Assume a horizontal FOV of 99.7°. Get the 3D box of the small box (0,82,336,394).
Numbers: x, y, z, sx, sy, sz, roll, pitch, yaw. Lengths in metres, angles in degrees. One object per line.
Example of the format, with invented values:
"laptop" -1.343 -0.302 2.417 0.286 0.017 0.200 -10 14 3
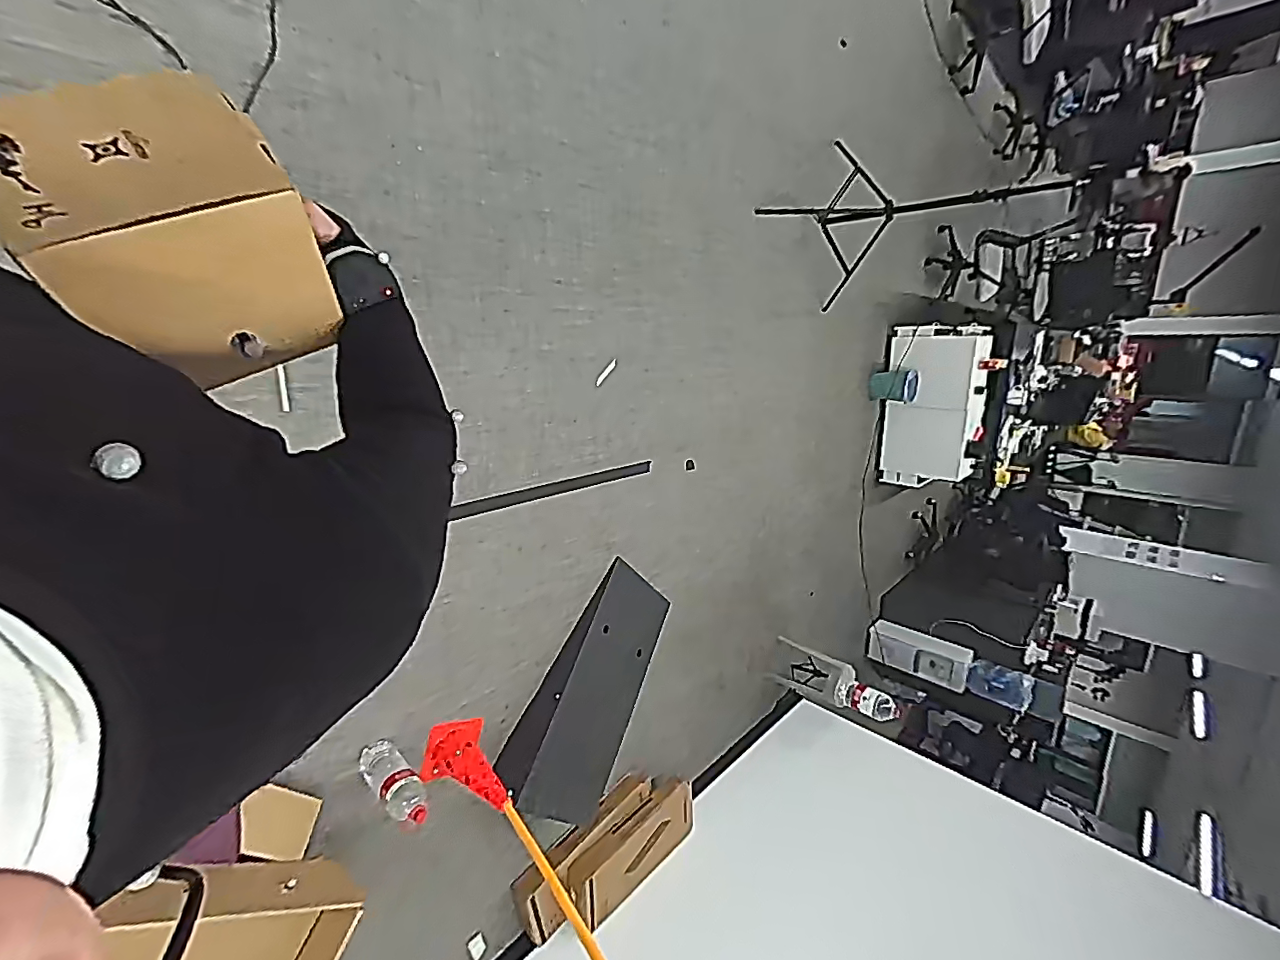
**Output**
"small box" -0.403 -0.211 0.486 0.179 0.168 0.176 -33 163 -27
